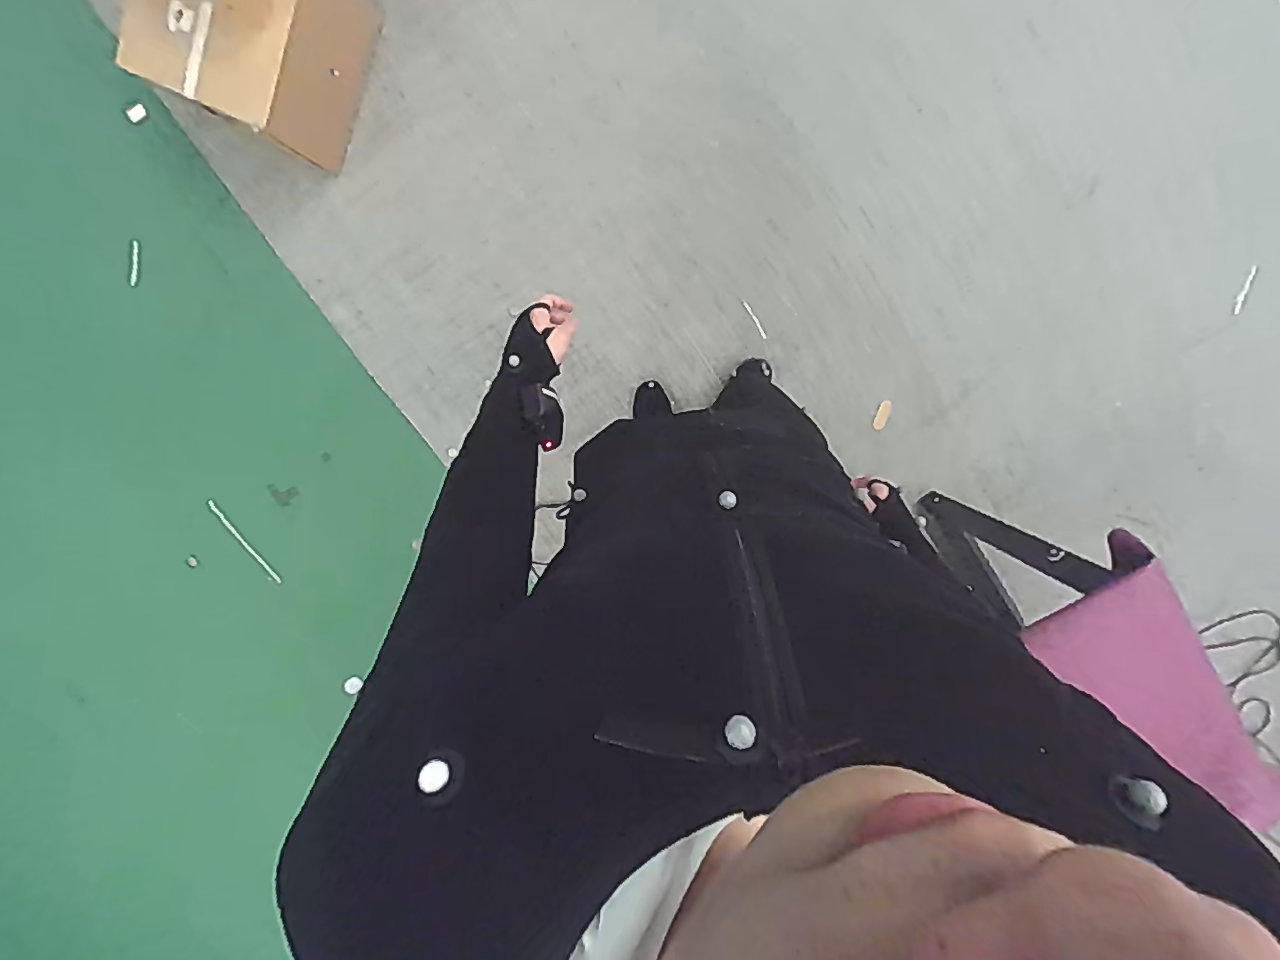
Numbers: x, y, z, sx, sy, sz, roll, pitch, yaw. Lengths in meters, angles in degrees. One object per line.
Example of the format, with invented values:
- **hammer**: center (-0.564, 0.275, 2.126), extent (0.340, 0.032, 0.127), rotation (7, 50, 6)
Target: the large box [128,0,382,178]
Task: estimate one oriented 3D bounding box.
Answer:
- **large box**: center (-0.851, -0.999, 1.238), extent (0.320, 0.320, 0.408), rotation (22, 102, -5)
